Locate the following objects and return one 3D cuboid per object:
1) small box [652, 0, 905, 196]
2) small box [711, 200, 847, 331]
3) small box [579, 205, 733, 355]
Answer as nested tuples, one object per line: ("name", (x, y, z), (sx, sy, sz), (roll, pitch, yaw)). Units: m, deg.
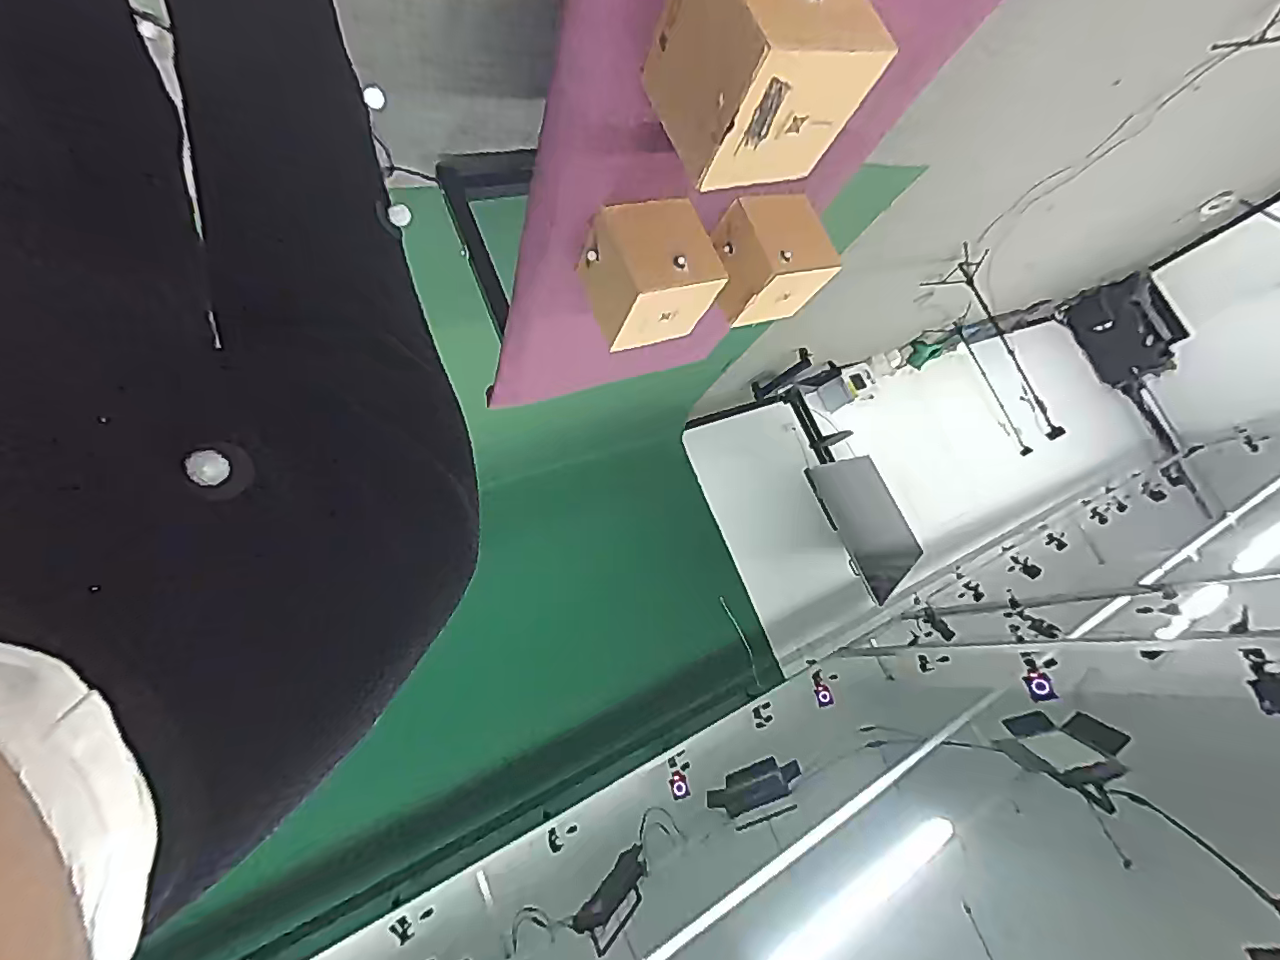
("small box", (0.137, -0.450, 0.593), (0.179, 0.176, 0.168), (-20, 170, -23))
("small box", (0.253, -0.416, 1.044), (0.179, 0.176, 0.168), (-17, 169, -26))
("small box", (0.020, -0.340, 0.919), (0.179, 0.176, 0.168), (-19, 168, -26))
